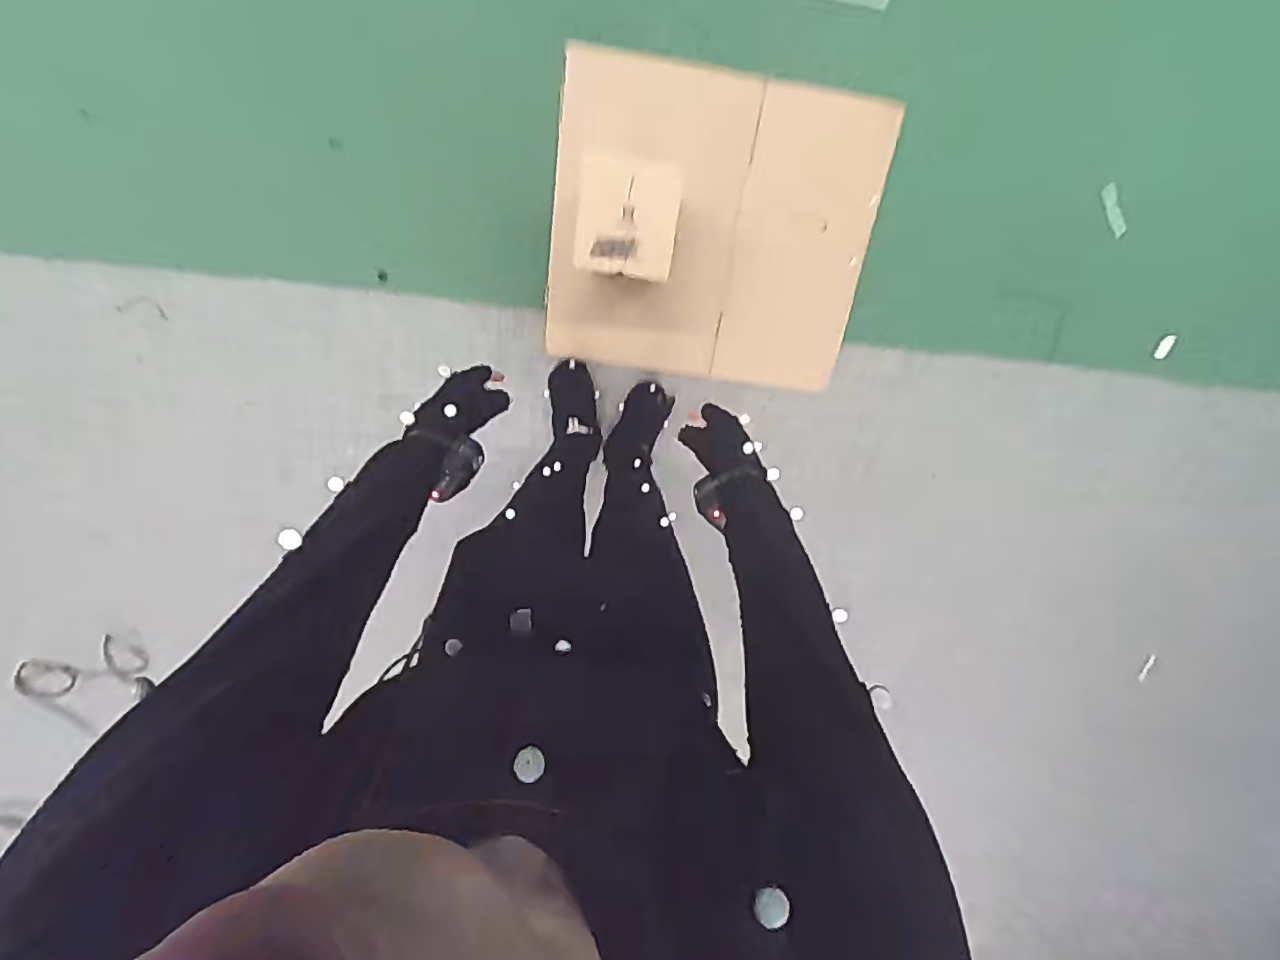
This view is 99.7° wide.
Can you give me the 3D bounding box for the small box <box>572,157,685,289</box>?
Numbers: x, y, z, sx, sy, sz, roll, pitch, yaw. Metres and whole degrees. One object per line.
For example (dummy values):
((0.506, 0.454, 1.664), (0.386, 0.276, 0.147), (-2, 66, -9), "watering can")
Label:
((-0.020, -0.443, 0.954), (0.168, 0.176, 0.179), (8, 110, -3), "small box")
